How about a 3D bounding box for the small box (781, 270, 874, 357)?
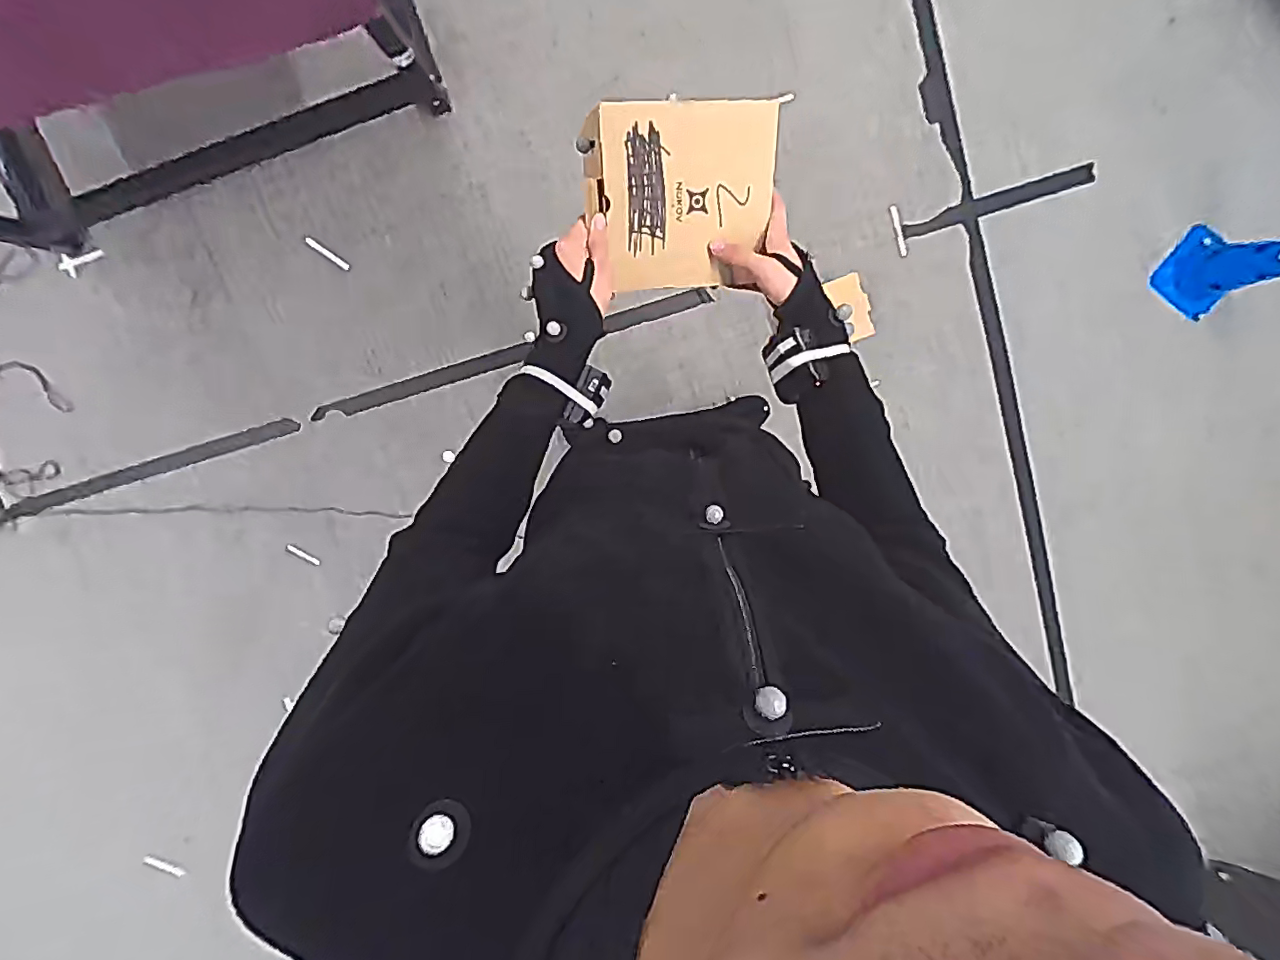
[{"bbox_3d":[0.493,-0.439,1.455,0.179,0.176,0.168,-21,100,4],"label":"small box"}]
